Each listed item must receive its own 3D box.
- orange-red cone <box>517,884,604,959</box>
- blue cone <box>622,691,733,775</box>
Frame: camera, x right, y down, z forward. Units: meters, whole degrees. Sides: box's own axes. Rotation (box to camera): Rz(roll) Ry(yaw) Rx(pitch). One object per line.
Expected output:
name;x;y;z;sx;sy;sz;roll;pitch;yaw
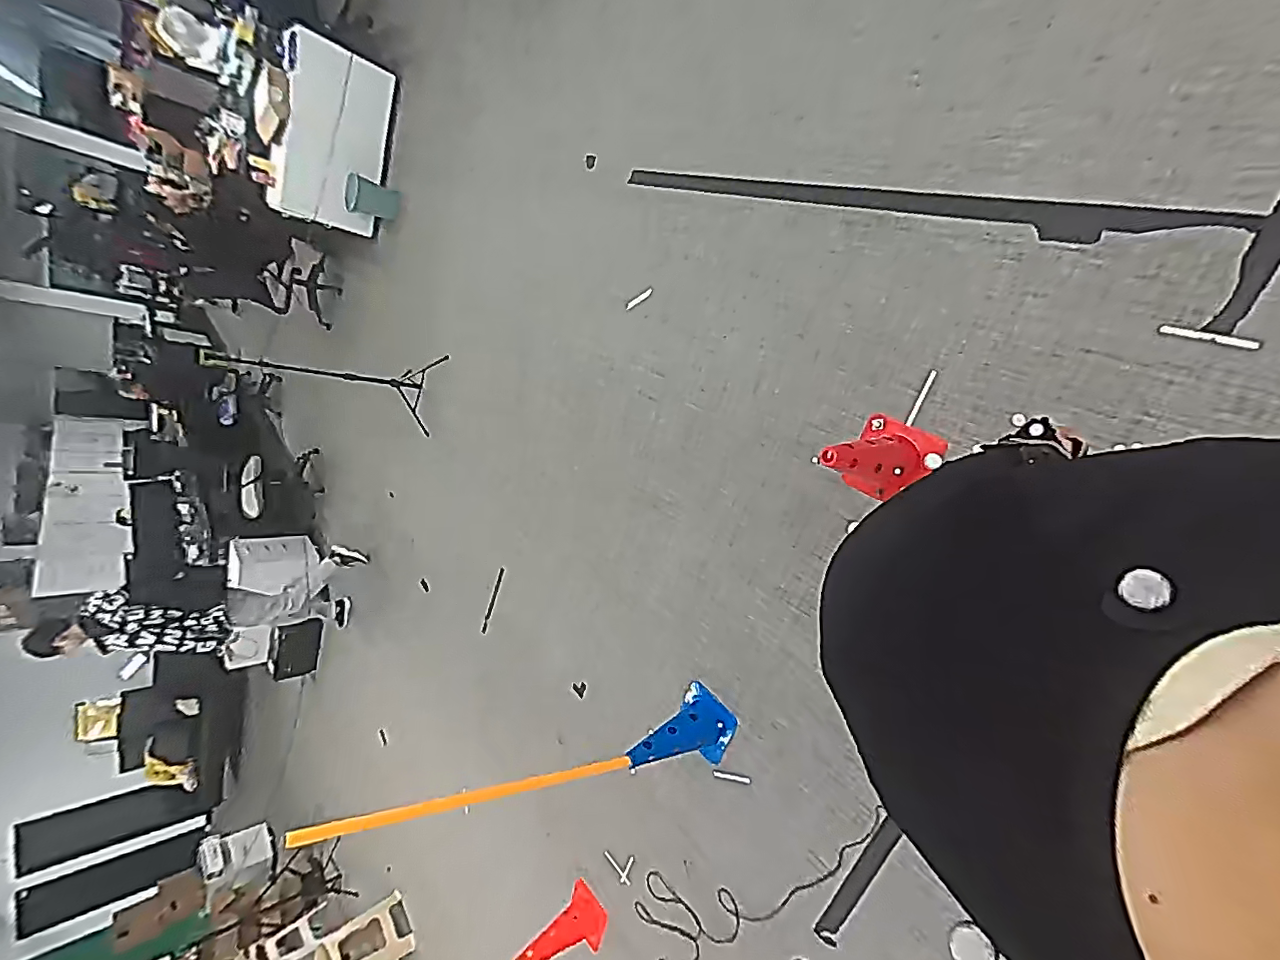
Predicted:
orange-red cone;-0.339;1.754;2.037;0.199;0.360;0.198;27;108;40
blue cone;0.095;0.808;1.650;0.193;0.380;0.192;37;115;39
